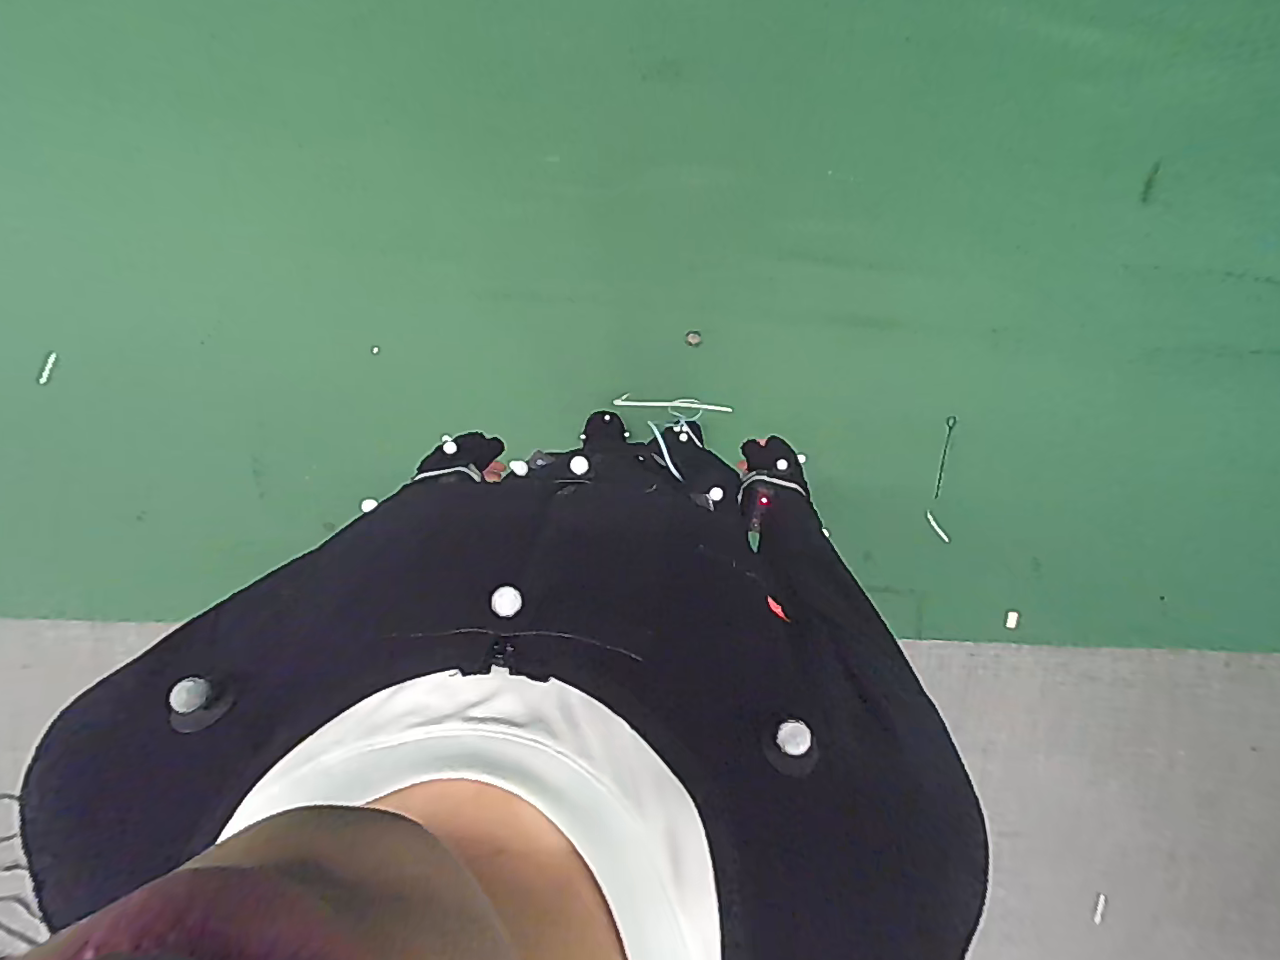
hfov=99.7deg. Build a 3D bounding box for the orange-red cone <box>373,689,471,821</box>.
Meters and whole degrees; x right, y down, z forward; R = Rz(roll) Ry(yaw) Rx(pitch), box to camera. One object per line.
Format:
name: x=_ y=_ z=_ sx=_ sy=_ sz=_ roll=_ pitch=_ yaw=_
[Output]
orange-red cone: x=-0.583 y=0.726 z=1.388 sx=0.198 sy=0.360 sz=0.199 roll=3 pitch=99 yaw=-1
